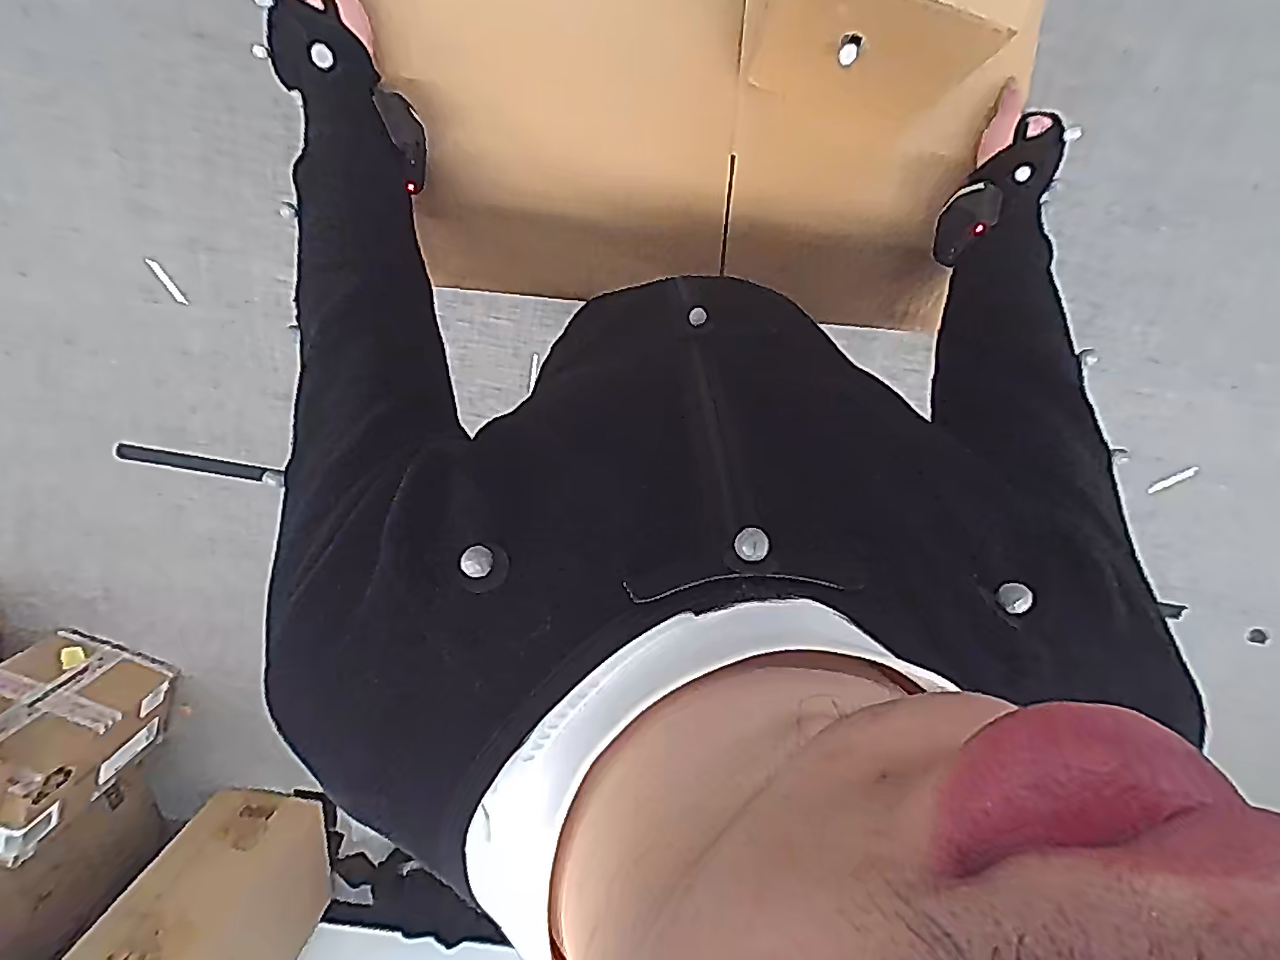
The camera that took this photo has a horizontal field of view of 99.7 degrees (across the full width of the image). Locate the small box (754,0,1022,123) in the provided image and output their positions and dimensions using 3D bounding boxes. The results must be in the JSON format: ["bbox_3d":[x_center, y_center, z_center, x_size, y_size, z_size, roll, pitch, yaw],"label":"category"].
[{"bbox_3d":[0.214,-0.446,0.463,0.179,0.176,0.168,15,100,-4],"label":"small box"}]
